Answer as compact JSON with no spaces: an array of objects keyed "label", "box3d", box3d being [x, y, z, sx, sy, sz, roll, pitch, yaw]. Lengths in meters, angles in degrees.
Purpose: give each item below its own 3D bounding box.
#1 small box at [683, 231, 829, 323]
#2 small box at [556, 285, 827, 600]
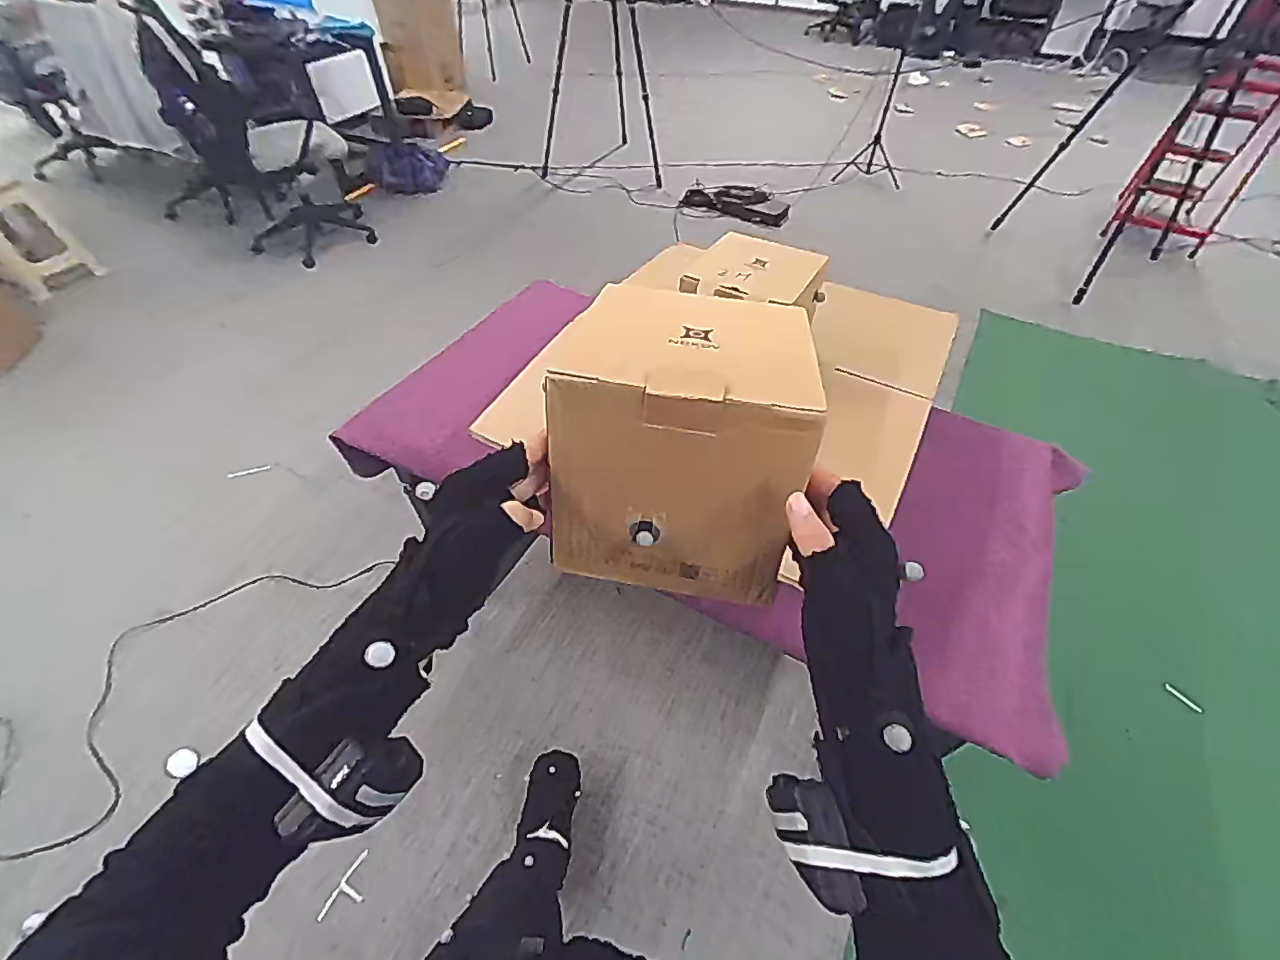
[{"label":"small box","box3d":[0.169,-0.256,0.843,0.168,0.176,0.179,24,53,19]},{"label":"small box","box3d":[0.035,-0.036,0.429,0.168,0.176,0.179,9,38,5]}]
